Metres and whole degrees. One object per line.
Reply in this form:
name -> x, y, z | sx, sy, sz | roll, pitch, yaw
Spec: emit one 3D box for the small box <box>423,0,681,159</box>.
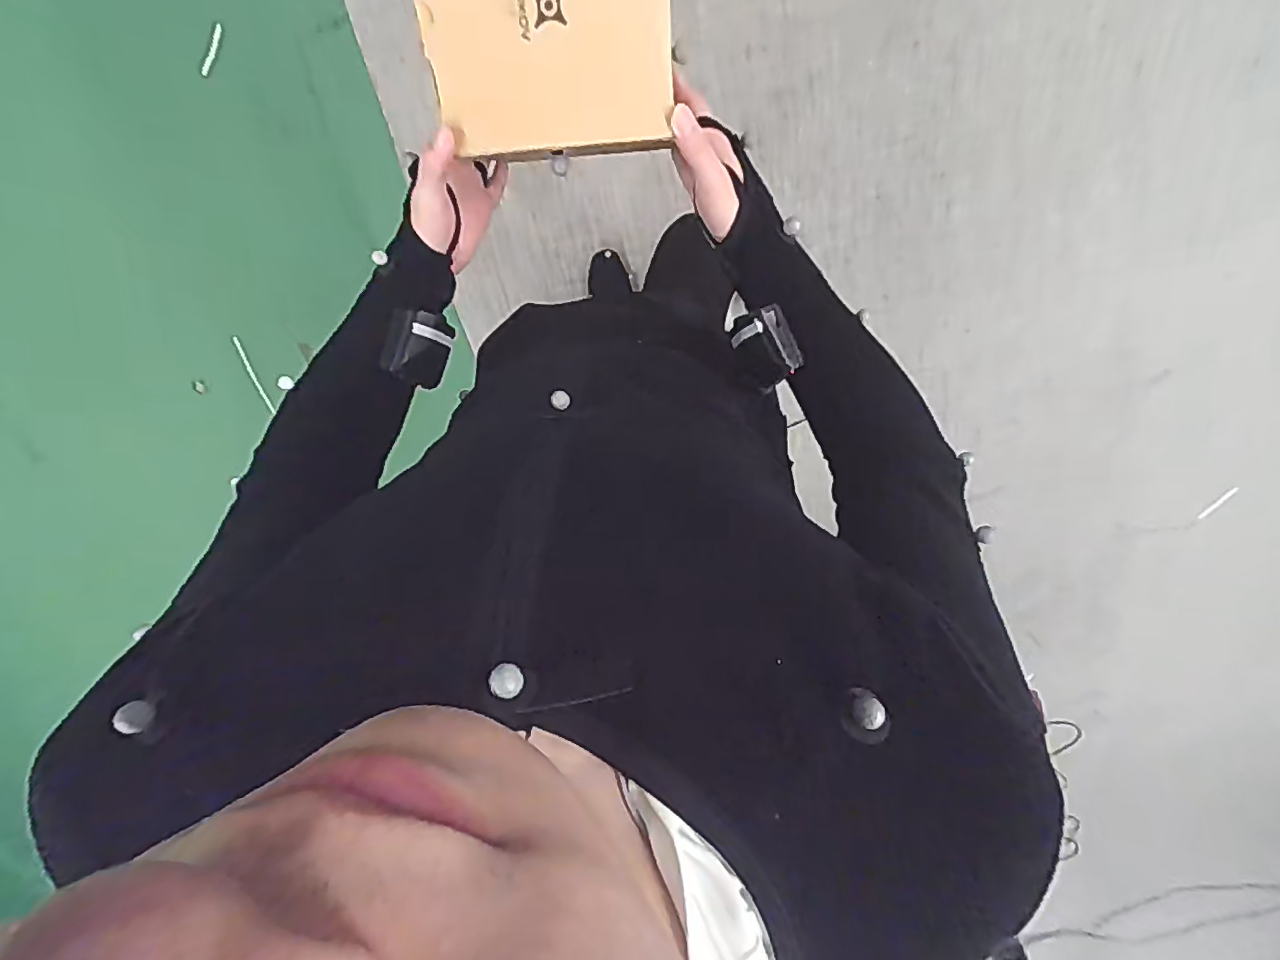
small box -> -0.056, -0.362, 0.436 | 0.179, 0.176, 0.168 | -1, 120, 6
